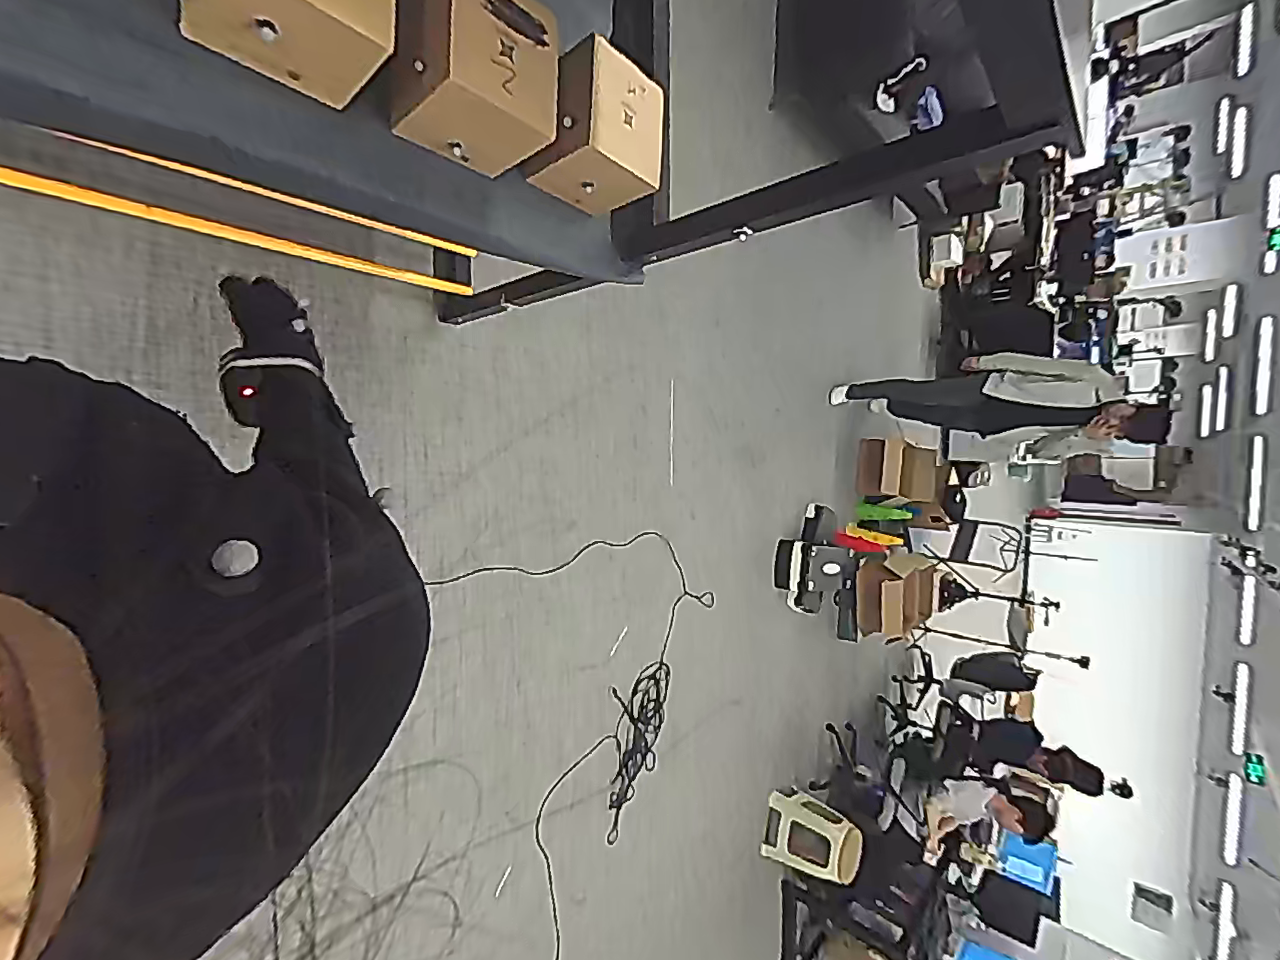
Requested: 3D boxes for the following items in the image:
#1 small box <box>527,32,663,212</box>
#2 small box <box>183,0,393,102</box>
[{"bbox_3d":[-0.080,-0.594,0.930,0.168,0.176,0.179,3,90,-48],"label":"small box"},{"bbox_3d":[-0.388,-0.572,0.599,0.168,0.176,0.179,1,91,-47],"label":"small box"}]
